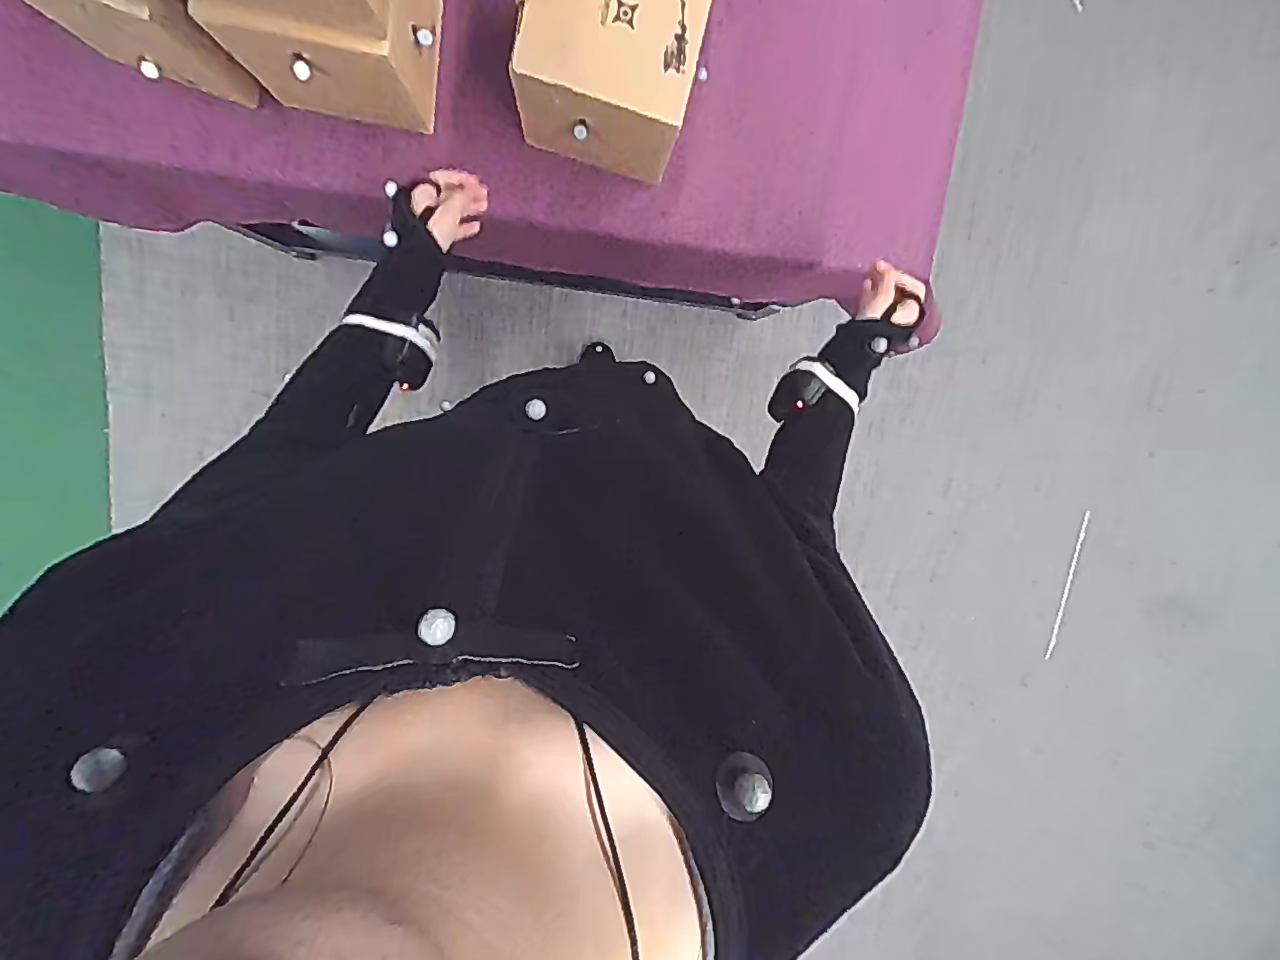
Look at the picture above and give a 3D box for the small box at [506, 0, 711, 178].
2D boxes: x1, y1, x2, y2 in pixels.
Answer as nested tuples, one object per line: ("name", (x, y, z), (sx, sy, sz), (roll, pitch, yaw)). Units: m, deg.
("small box", (-0.032, -0.462, 0.590), (0.179, 0.176, 0.168), (14, 98, -9))
